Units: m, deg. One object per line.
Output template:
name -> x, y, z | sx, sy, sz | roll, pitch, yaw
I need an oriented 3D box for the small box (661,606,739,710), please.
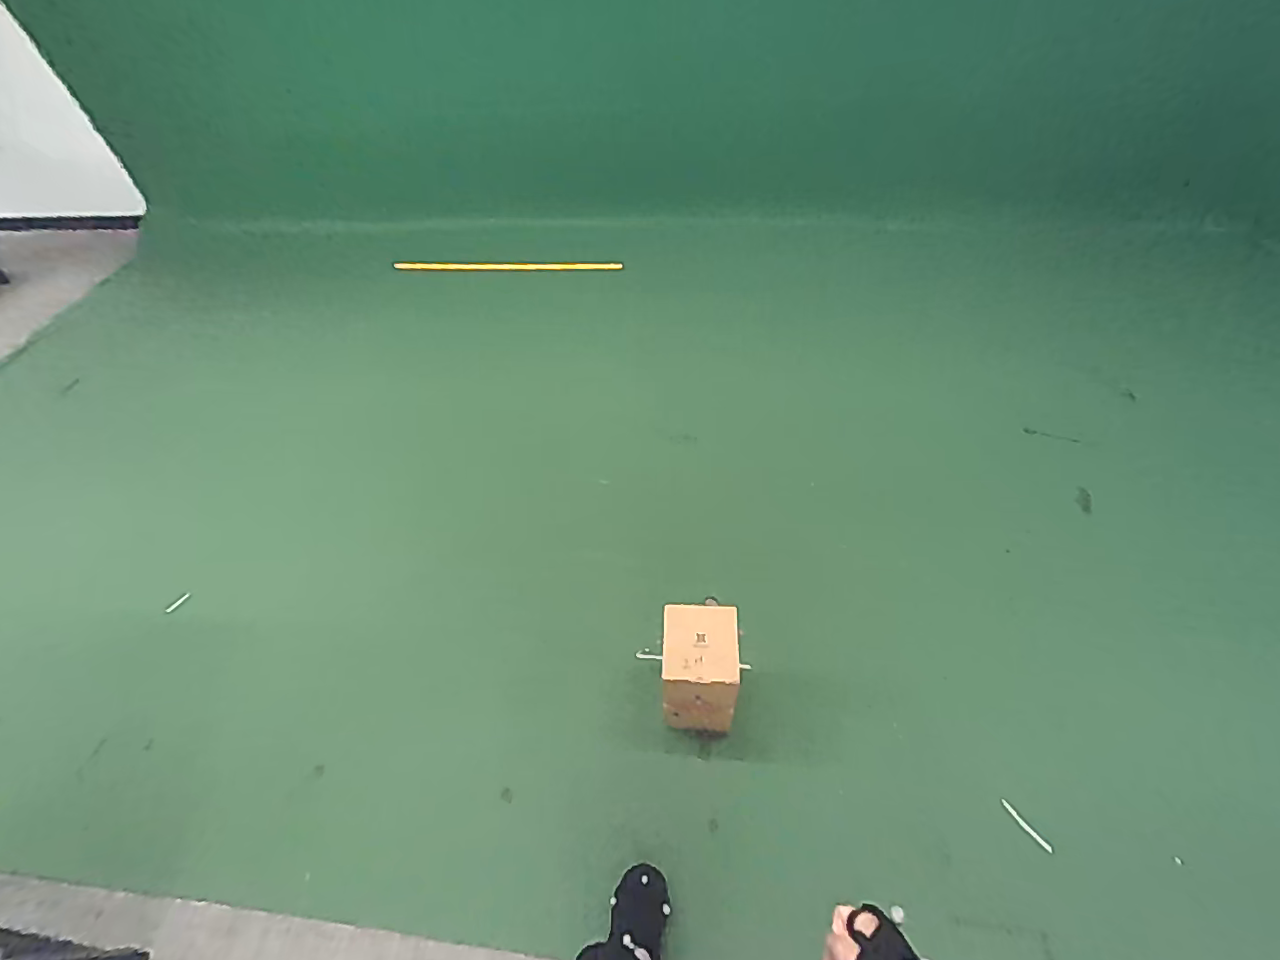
small box -> 0.137, 0.411, 1.249 | 0.168, 0.176, 0.179 | 1, 51, 6
